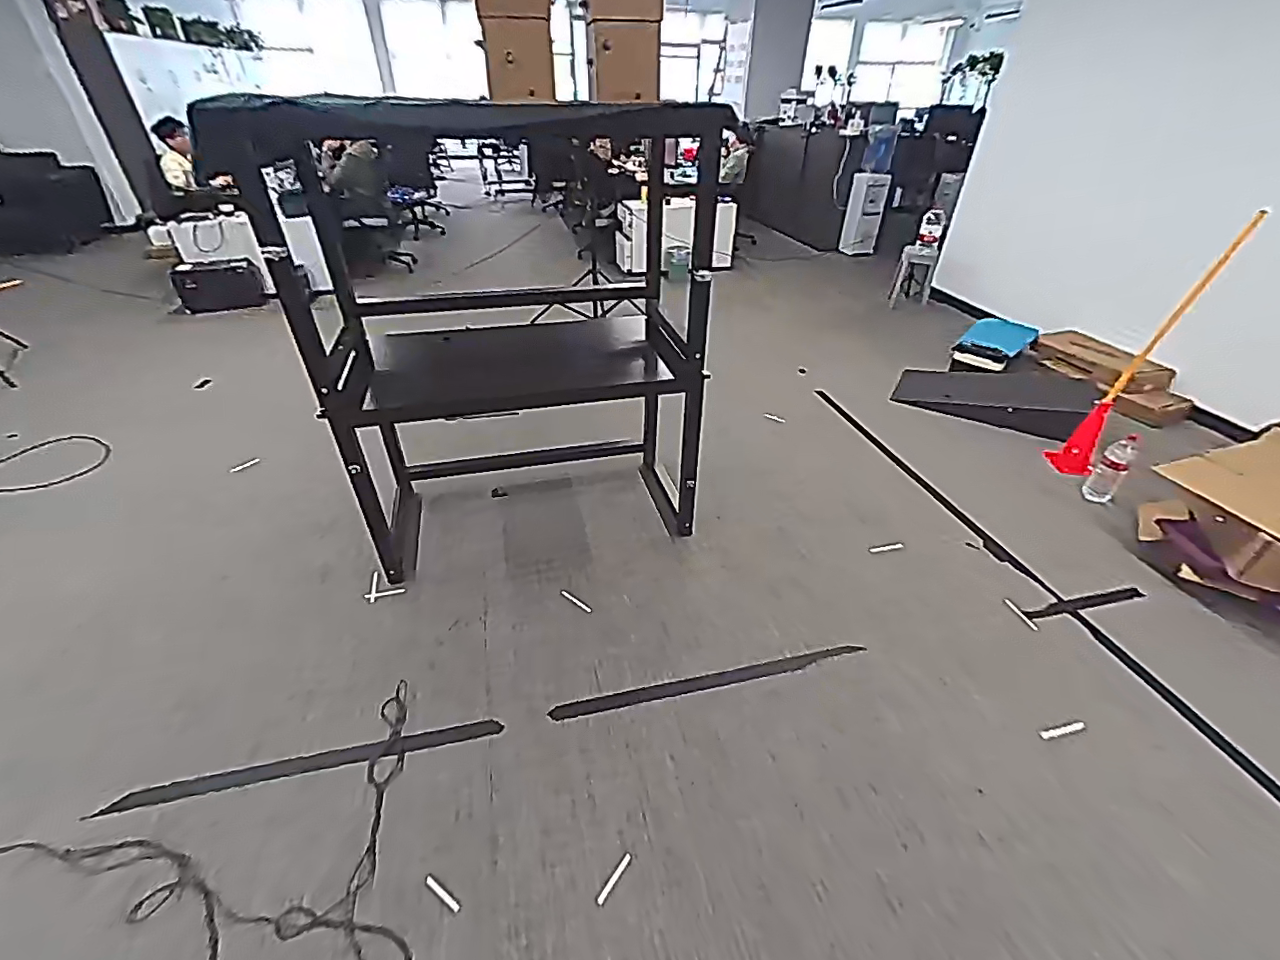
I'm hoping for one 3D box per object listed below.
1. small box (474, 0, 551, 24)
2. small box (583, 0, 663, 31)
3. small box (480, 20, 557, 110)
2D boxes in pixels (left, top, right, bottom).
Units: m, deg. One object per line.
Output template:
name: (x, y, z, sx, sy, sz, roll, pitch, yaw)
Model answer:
small box: (-0.300, -1.165, 1.255, 0.179, 0.176, 0.168, -7, 35, -8)
small box: (-0.044, -1.193, 1.296, 0.179, 0.176, 0.168, -9, 34, -10)
small box: (-0.301, -1.036, 1.357, 0.168, 0.176, 0.179, -6, 35, -9)
